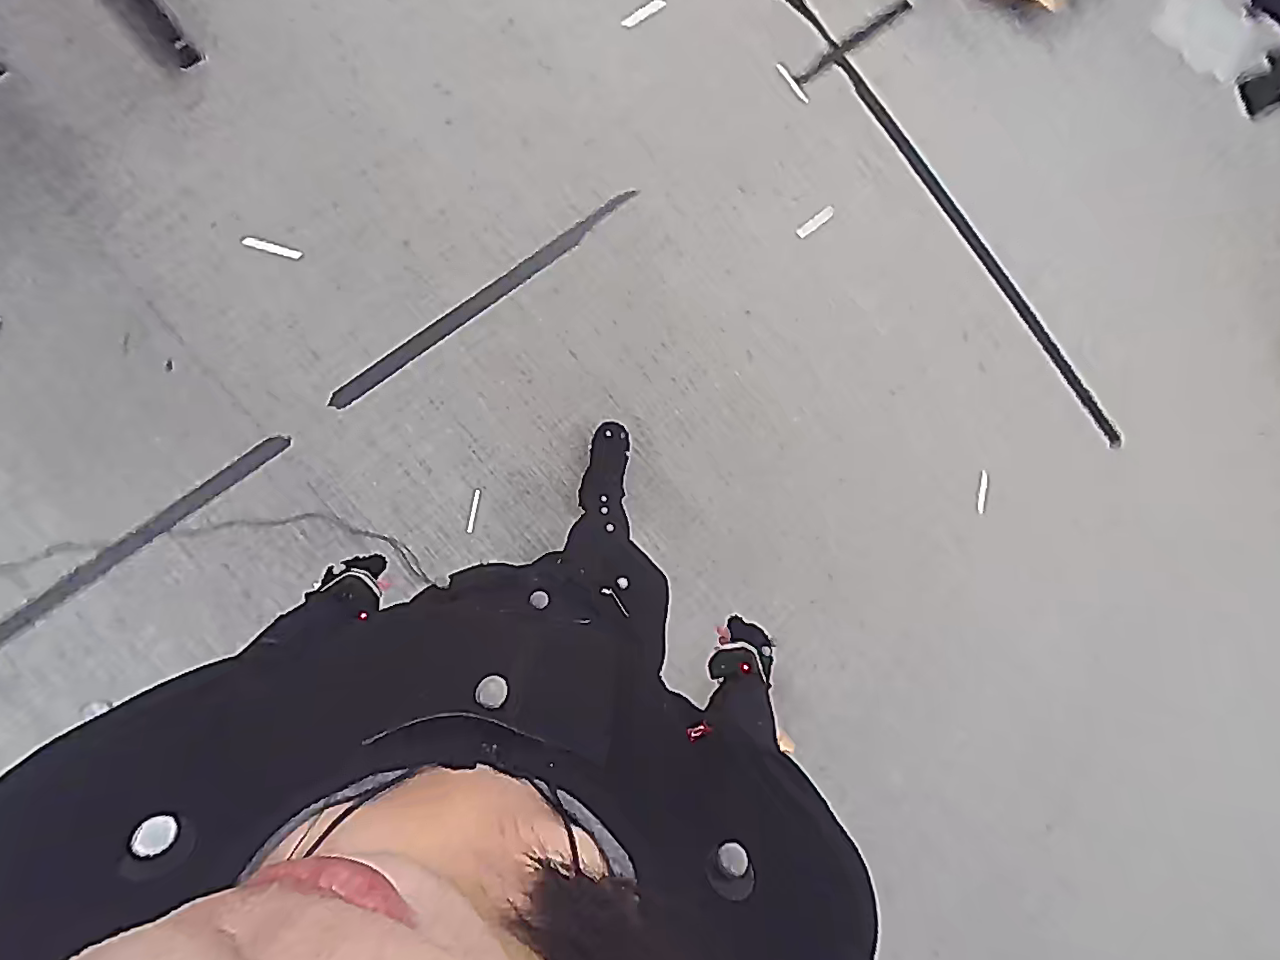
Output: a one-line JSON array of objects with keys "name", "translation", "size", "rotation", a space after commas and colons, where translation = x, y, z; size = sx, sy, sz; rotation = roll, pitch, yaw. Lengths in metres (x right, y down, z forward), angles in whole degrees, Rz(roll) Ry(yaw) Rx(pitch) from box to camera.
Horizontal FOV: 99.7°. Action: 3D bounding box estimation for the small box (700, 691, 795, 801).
[{"name": "small box", "translation": [0.282, 0.718, 1.479], "size": [0.179, 0.176, 0.168], "rotation": [-40, 94, -9]}]
